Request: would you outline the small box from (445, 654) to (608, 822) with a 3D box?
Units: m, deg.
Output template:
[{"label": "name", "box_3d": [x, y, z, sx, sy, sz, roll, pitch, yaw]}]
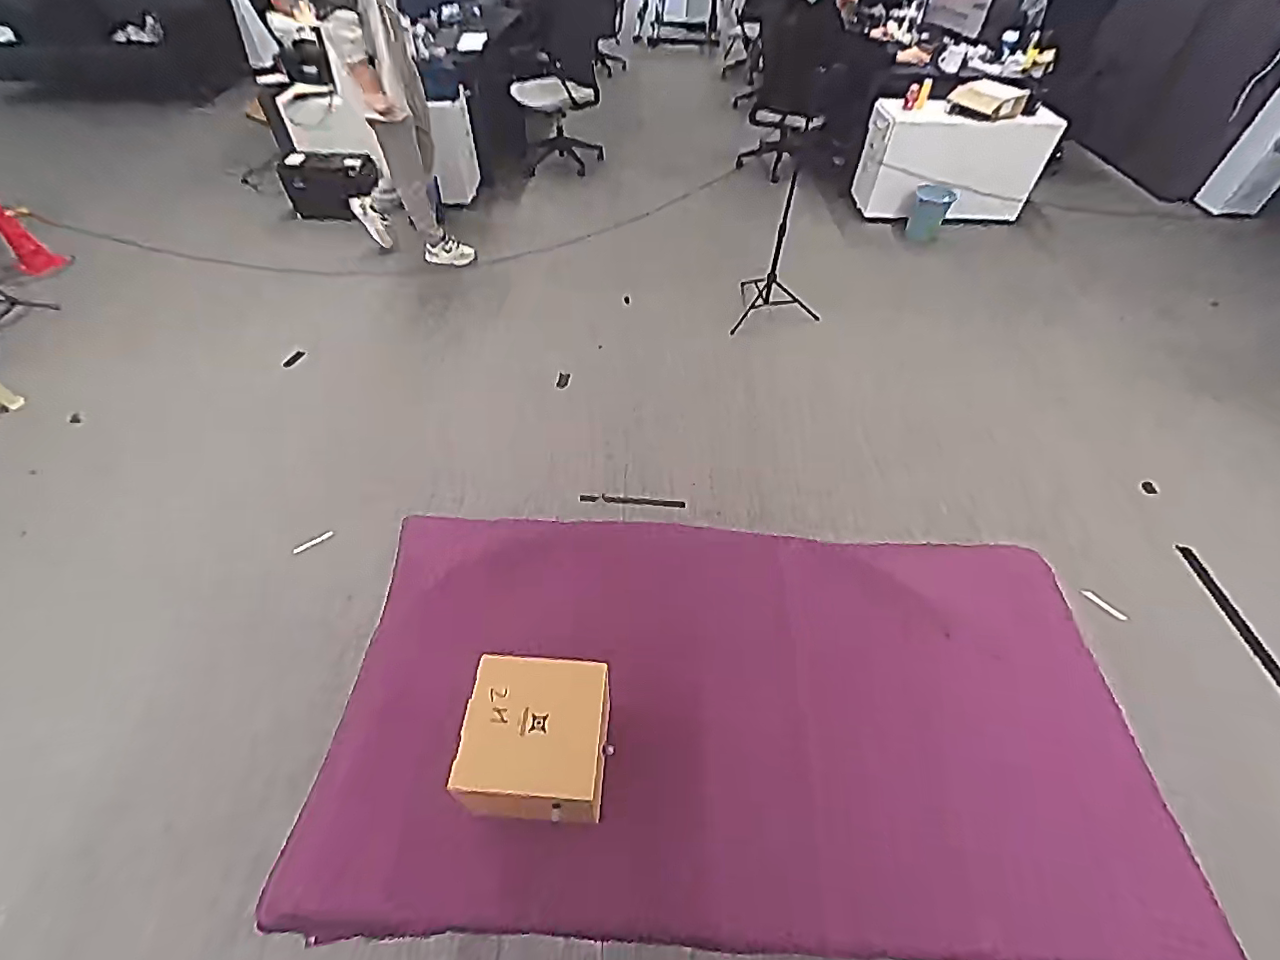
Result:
[{"label": "small box", "box_3d": [-0.139, 0.357, 0.741, 0.179, 0.176, 0.168, 4, 49, 2]}]
